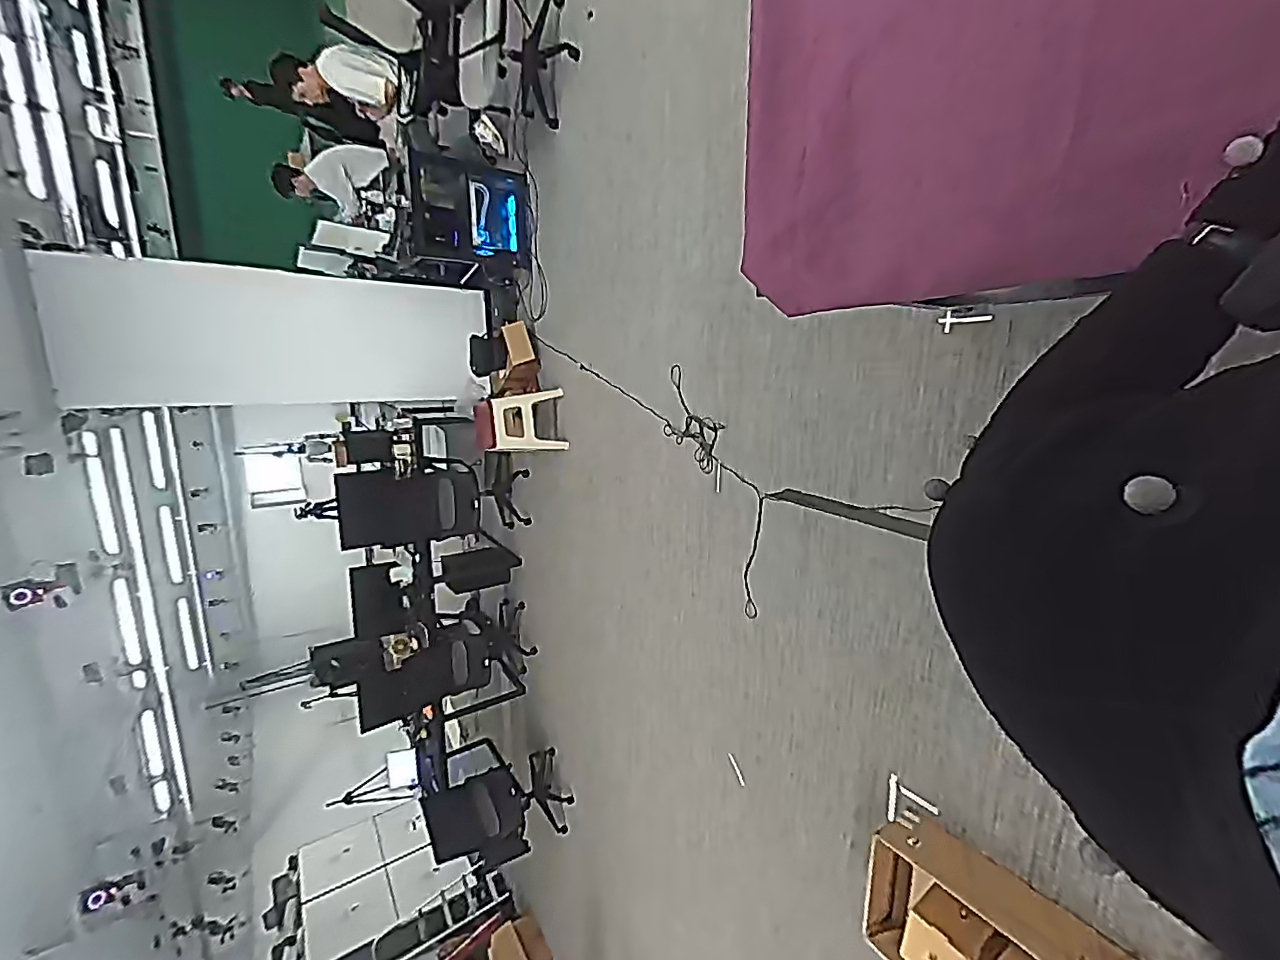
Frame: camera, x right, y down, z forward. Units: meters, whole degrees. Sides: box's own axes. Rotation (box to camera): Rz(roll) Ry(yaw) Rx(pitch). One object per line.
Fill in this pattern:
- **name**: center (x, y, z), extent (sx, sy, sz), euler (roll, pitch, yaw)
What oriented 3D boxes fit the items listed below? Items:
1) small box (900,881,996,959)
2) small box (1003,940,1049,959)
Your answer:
- **small box**: center (0.873, 1.303, 1.531), extent (0.168, 0.176, 0.179), euler (24, 115, 51)
- **small box**: center (0.994, 1.320, 1.351), extent (0.168, 0.176, 0.179), euler (14, 108, 56)
